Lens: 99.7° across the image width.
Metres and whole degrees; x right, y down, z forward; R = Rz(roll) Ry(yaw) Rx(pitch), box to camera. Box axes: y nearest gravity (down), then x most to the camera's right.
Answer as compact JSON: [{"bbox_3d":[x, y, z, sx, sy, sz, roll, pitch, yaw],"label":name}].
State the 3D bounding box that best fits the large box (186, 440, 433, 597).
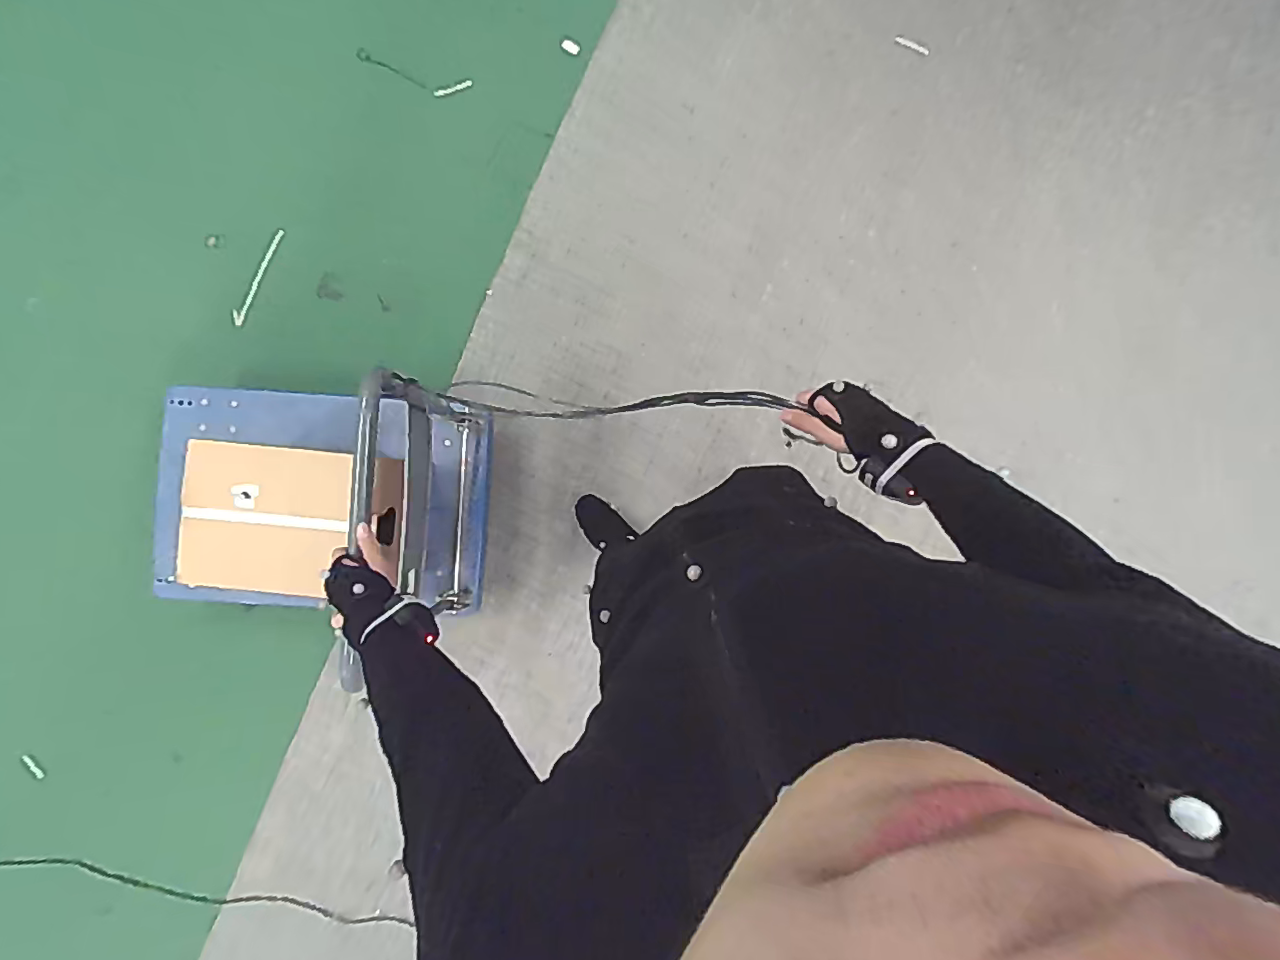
[{"bbox_3d":[-0.759,0.080,1.301,0.408,0.320,0.320,6,90,1],"label":"large box"}]
